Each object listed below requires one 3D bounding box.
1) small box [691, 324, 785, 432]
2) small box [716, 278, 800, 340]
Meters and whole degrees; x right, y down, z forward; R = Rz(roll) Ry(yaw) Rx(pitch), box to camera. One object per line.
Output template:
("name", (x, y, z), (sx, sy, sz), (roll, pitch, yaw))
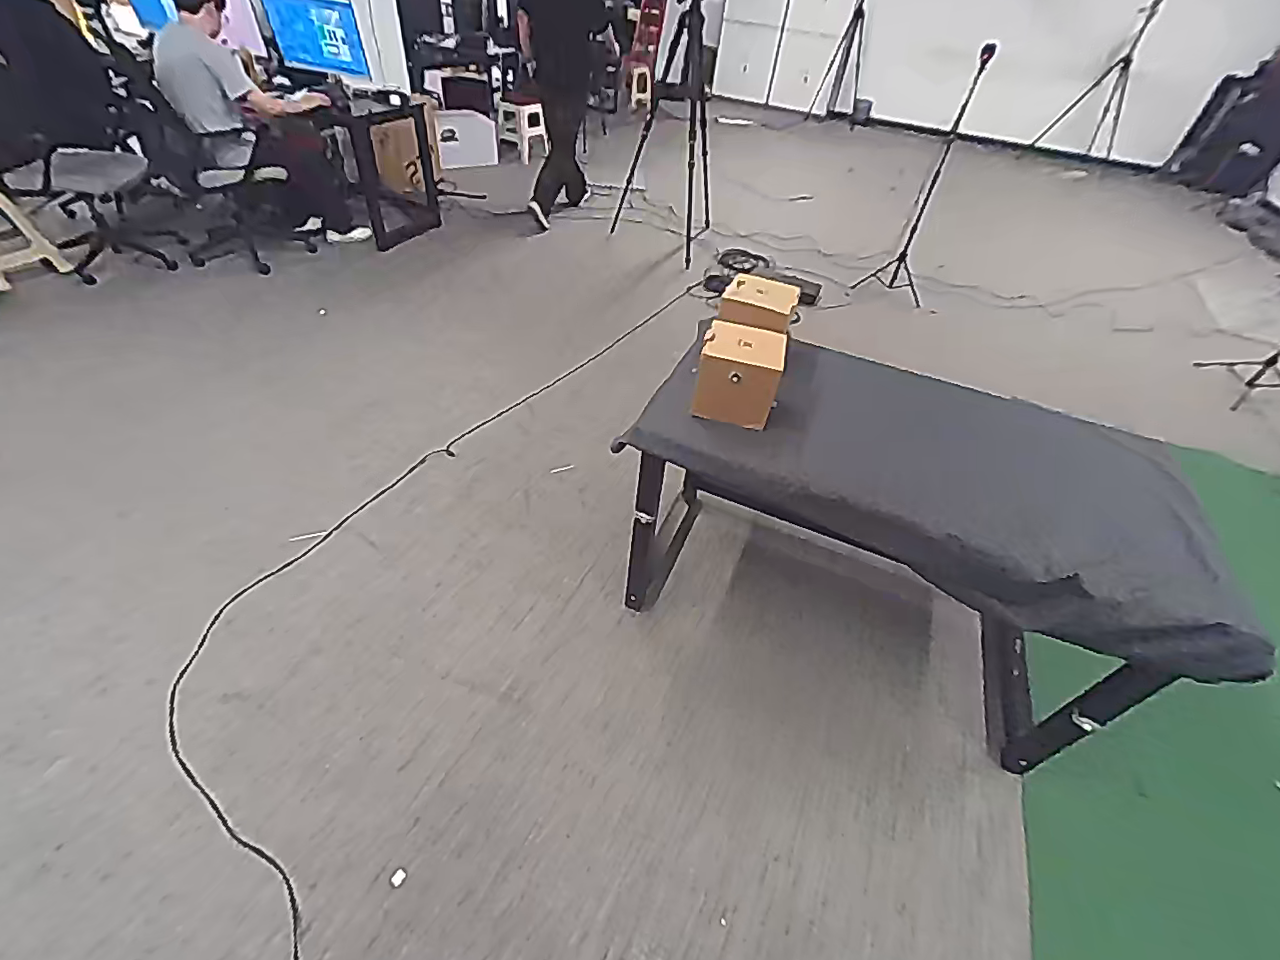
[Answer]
("small box", (0.224, -0.234, 1.254), (0.179, 0.176, 0.168), (15, 44, 5))
("small box", (0.306, -0.412, 1.450), (0.179, 0.176, 0.168), (21, 46, 13))
